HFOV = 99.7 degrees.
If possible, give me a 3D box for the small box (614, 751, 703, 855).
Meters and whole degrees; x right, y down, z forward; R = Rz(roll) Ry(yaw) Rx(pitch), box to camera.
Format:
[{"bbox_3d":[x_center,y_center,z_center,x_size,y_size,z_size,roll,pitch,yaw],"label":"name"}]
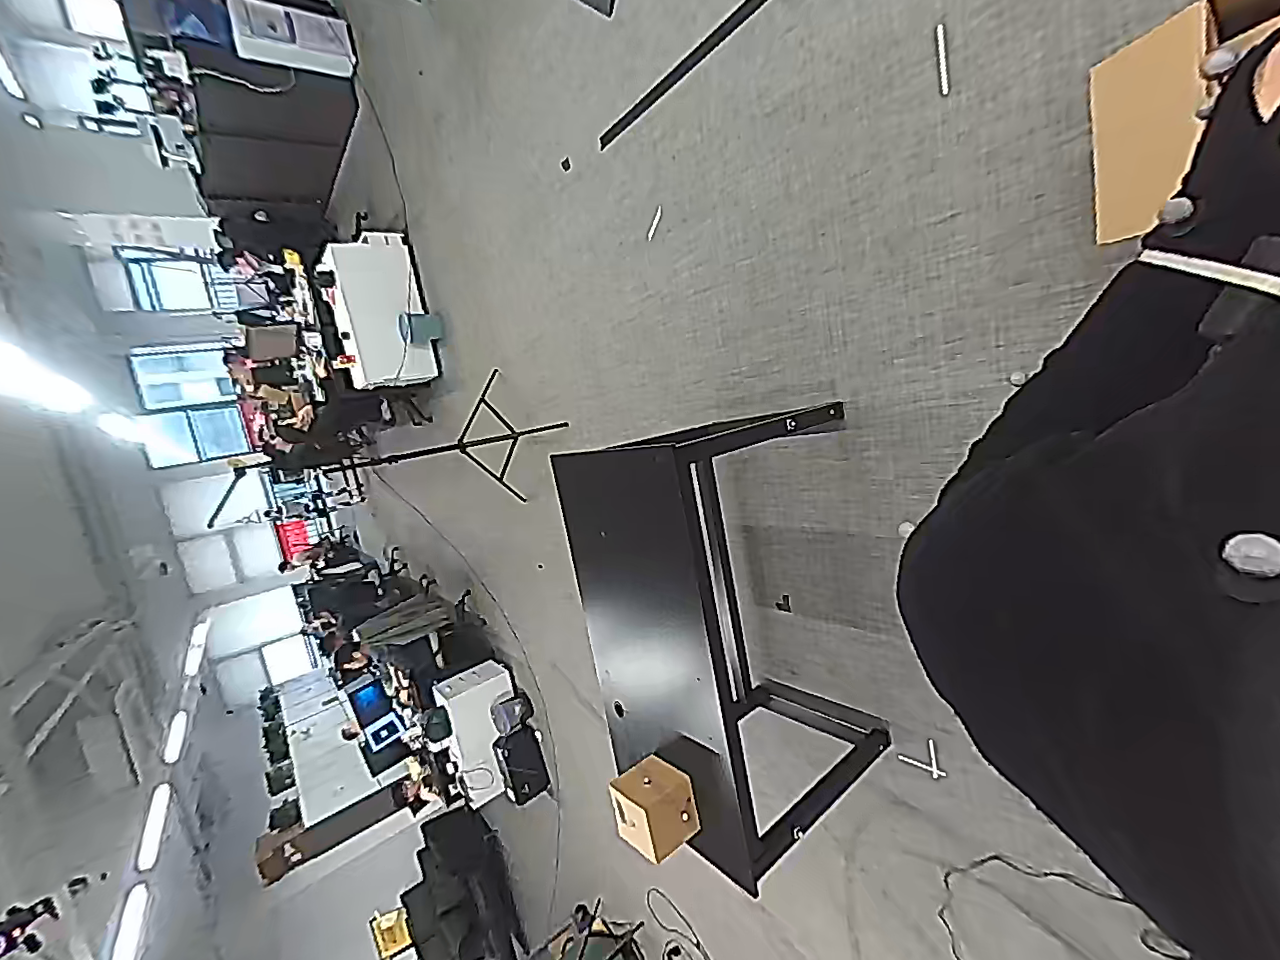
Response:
[{"bbox_3d":[0.054,0.915,1.556,0.179,0.176,0.168,-4,101,53],"label":"small box"}]
